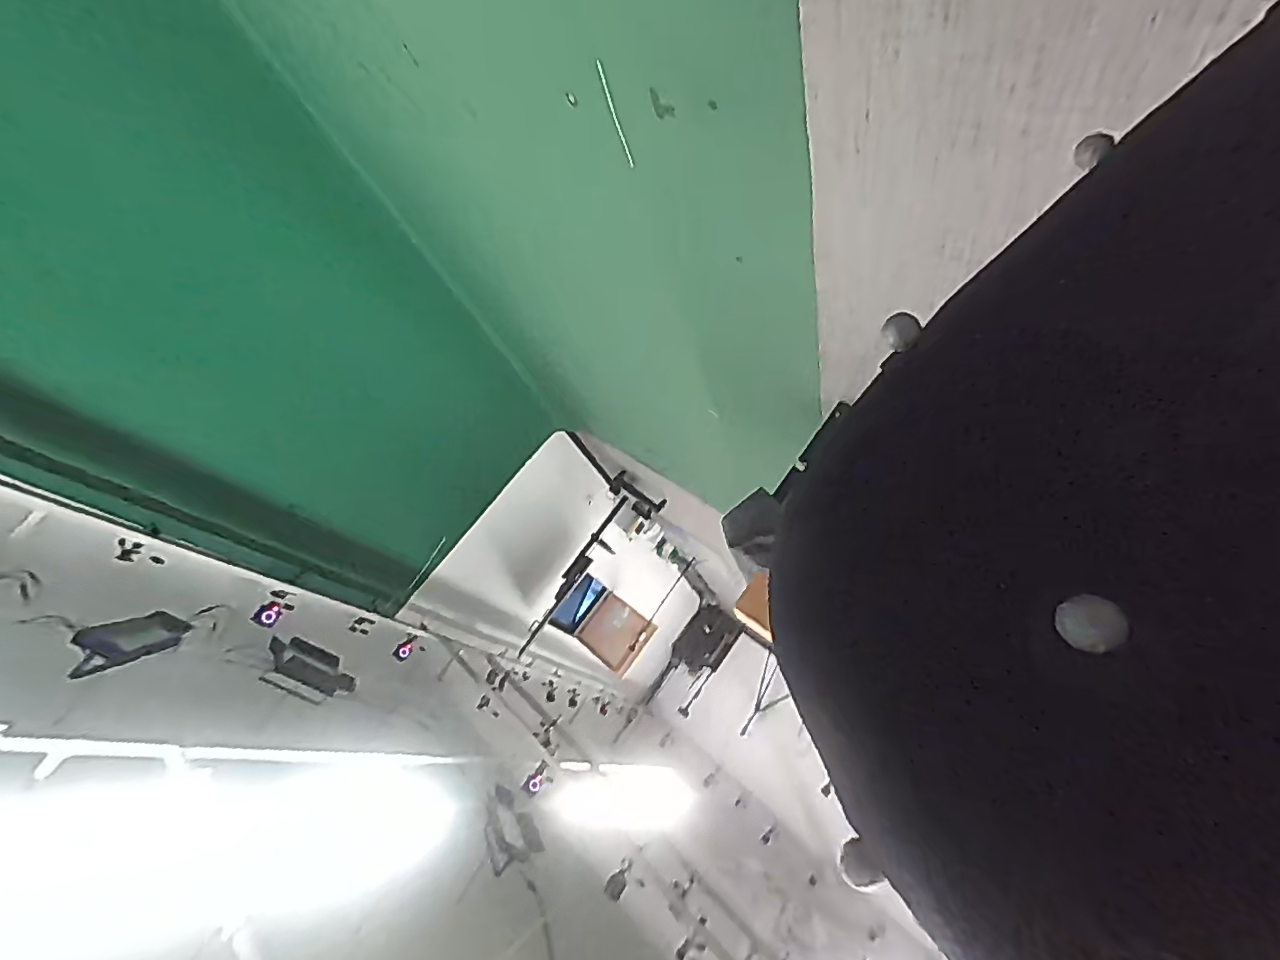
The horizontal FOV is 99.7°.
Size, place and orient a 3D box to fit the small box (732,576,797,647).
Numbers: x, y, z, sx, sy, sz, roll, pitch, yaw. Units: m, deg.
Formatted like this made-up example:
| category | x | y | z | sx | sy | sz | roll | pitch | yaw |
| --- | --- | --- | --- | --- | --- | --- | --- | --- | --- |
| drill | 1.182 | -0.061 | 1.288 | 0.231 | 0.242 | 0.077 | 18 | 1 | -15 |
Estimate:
| category | x | y | z | sx | sy | sz | roll | pitch | yaw |
| --- | --- | --- | --- | --- | --- | --- | --- | --- | --- |
| small box | 0.457 | 0.477 | 1.969 | 0.168 | 0.176 | 0.179 | 33 | 167 | 27 |
